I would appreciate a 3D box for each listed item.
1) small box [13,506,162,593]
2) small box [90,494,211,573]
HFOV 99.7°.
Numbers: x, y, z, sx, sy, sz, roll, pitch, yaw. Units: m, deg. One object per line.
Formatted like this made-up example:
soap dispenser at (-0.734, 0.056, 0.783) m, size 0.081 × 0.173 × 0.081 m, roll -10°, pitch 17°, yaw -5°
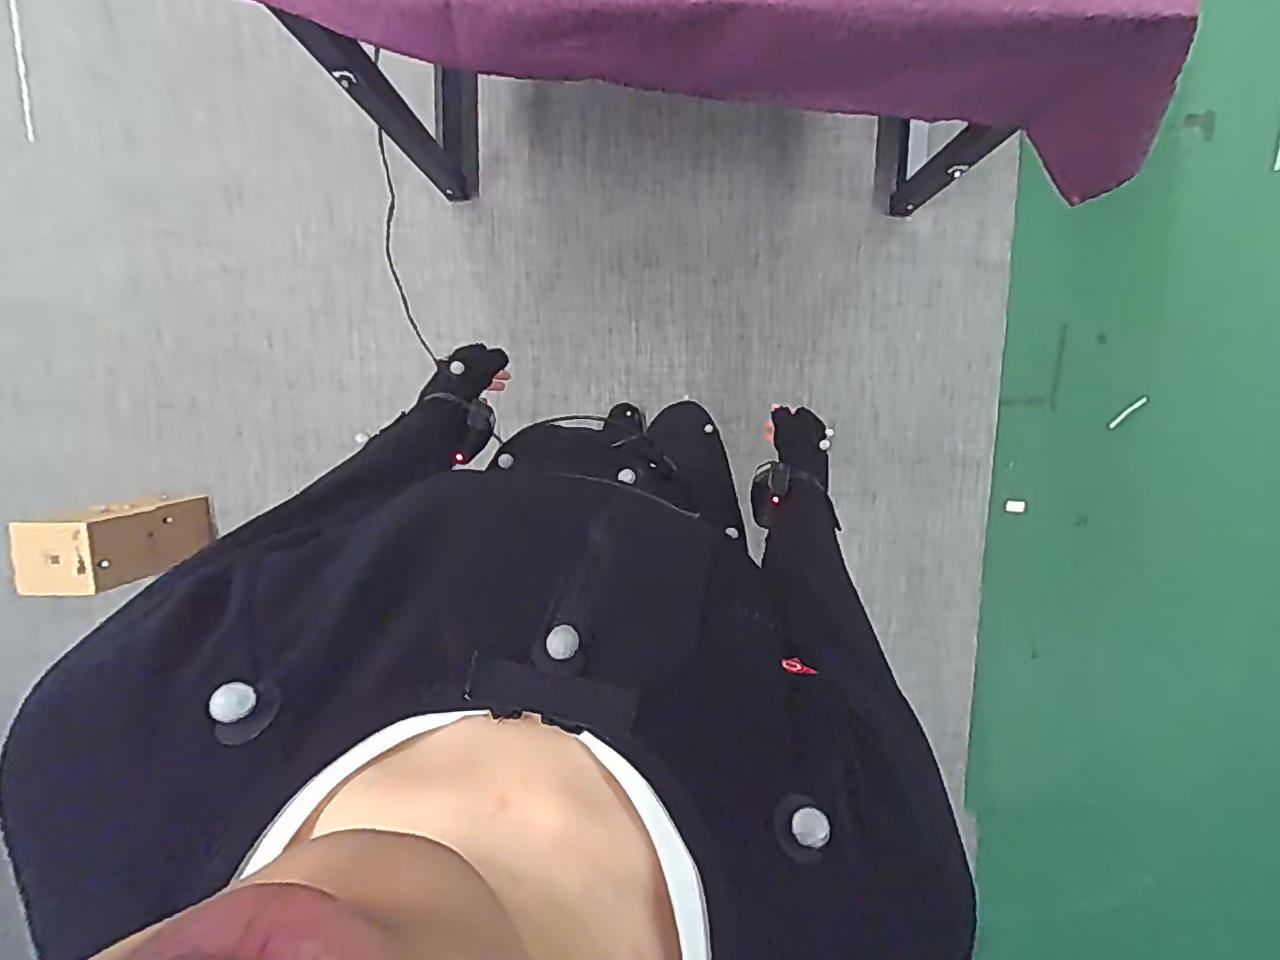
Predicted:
small box at (-1.276, 0.156, 1.259) m, size 0.179 × 0.176 × 0.168 m, roll 1°, pitch 97°, yaw 2°
small box at (-1.275, 0.136, 1.422) m, size 0.168 × 0.176 × 0.179 m, roll 0°, pitch 97°, yaw 1°
